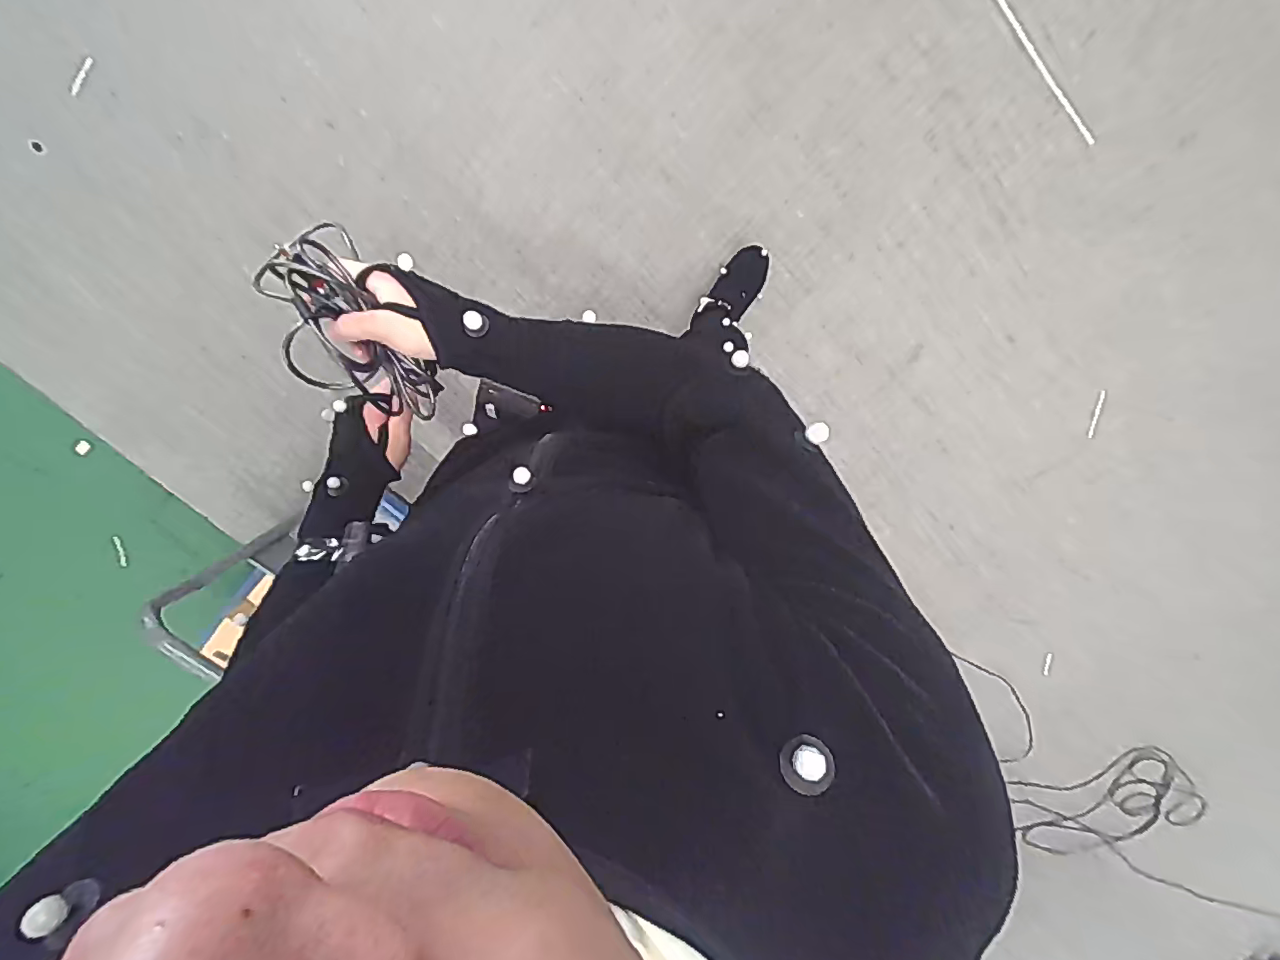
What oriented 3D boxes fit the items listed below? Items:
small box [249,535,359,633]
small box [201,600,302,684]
[{"bbox_3d":[-0.944,0.291,1.536,0.179,0.176,0.168,-43,104,15],"label":"small box"},{"bbox_3d":[-1.133,0.459,1.608,0.168,0.176,0.179,40,106,-13],"label":"small box"}]
